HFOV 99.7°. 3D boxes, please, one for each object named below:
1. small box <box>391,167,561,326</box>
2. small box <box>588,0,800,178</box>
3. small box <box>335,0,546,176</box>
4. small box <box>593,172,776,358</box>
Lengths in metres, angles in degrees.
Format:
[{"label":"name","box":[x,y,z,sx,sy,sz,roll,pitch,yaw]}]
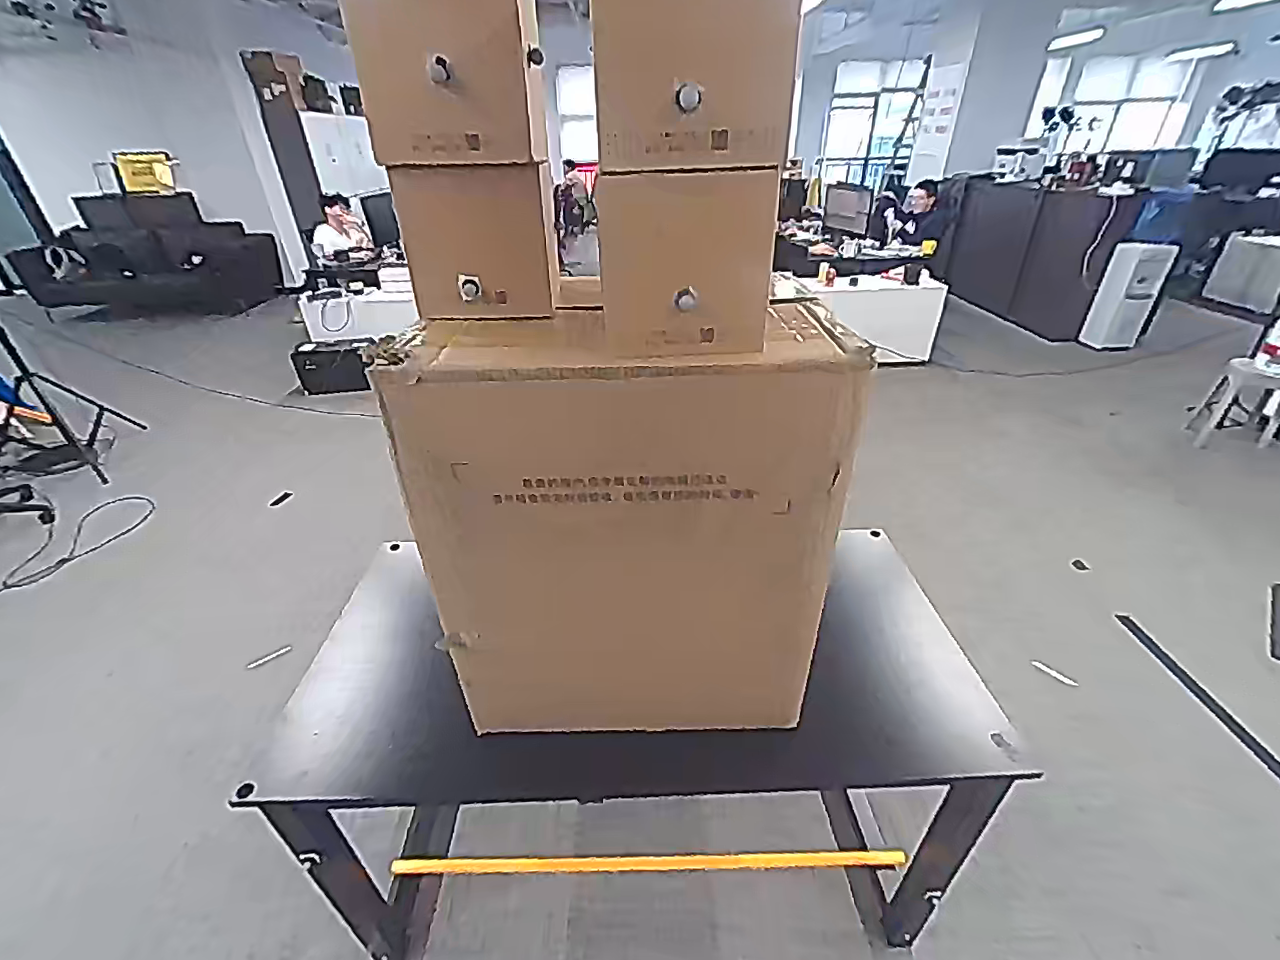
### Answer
[{"label":"small box","box":[-0.195,-0.305,0.700,0.168,0.176,0.179,-4,33,-3]},{"label":"small box","box":[0.040,-0.378,0.498,0.168,0.176,0.179,-3,33,0]},{"label":"small box","box":[-0.200,-0.436,0.600,0.168,0.176,0.179,-3,32,-2]},{"label":"small box","box":[0.040,-0.241,0.590,0.168,0.176,0.179,-4,32,-1]}]
